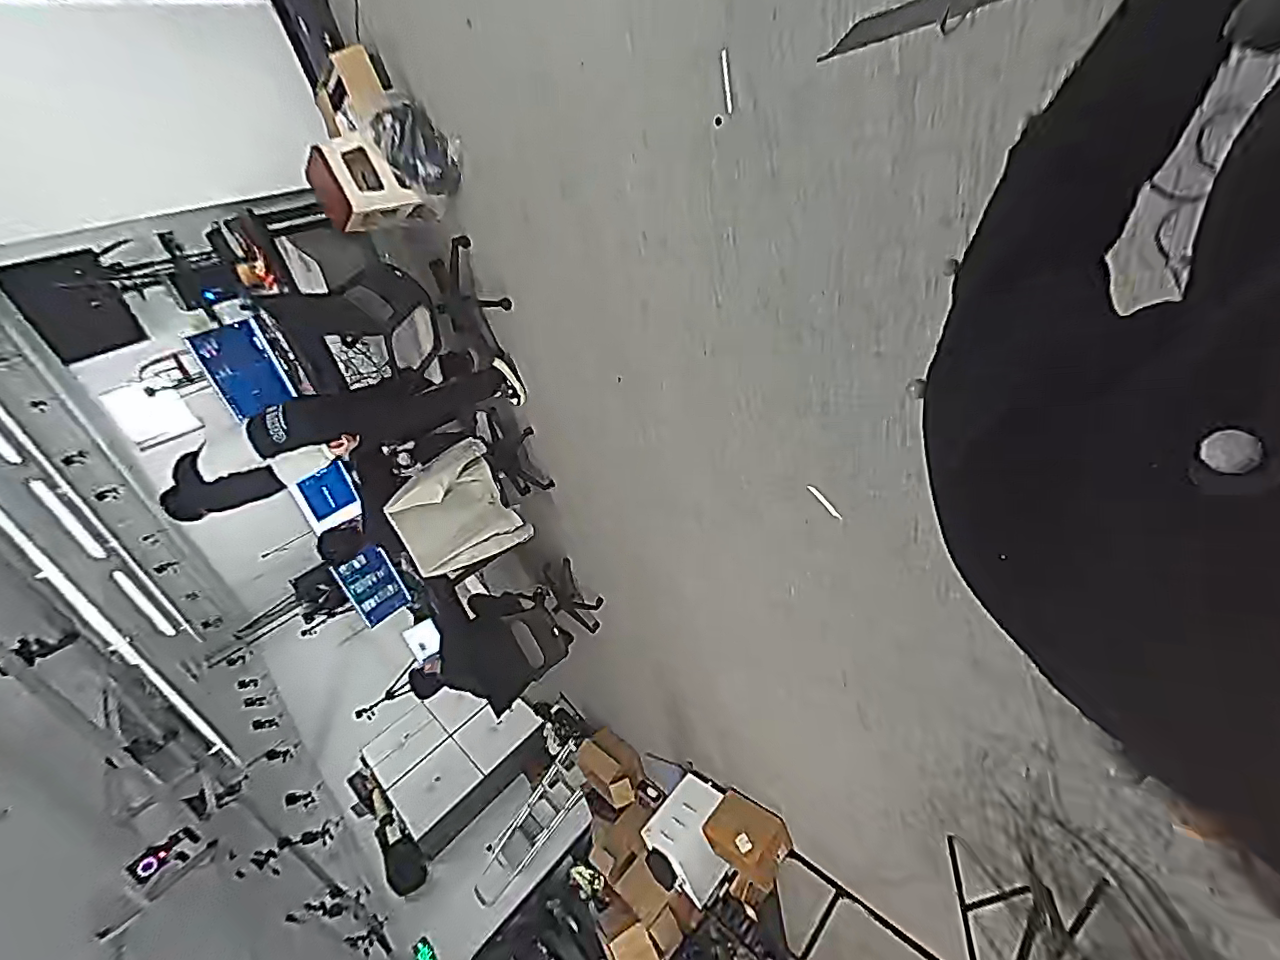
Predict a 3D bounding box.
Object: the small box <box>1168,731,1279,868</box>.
[{"bbox_3d":[1.345,0.718,1.237,0.168,0.176,0.179,13,130,46],"label":"small box"}]
